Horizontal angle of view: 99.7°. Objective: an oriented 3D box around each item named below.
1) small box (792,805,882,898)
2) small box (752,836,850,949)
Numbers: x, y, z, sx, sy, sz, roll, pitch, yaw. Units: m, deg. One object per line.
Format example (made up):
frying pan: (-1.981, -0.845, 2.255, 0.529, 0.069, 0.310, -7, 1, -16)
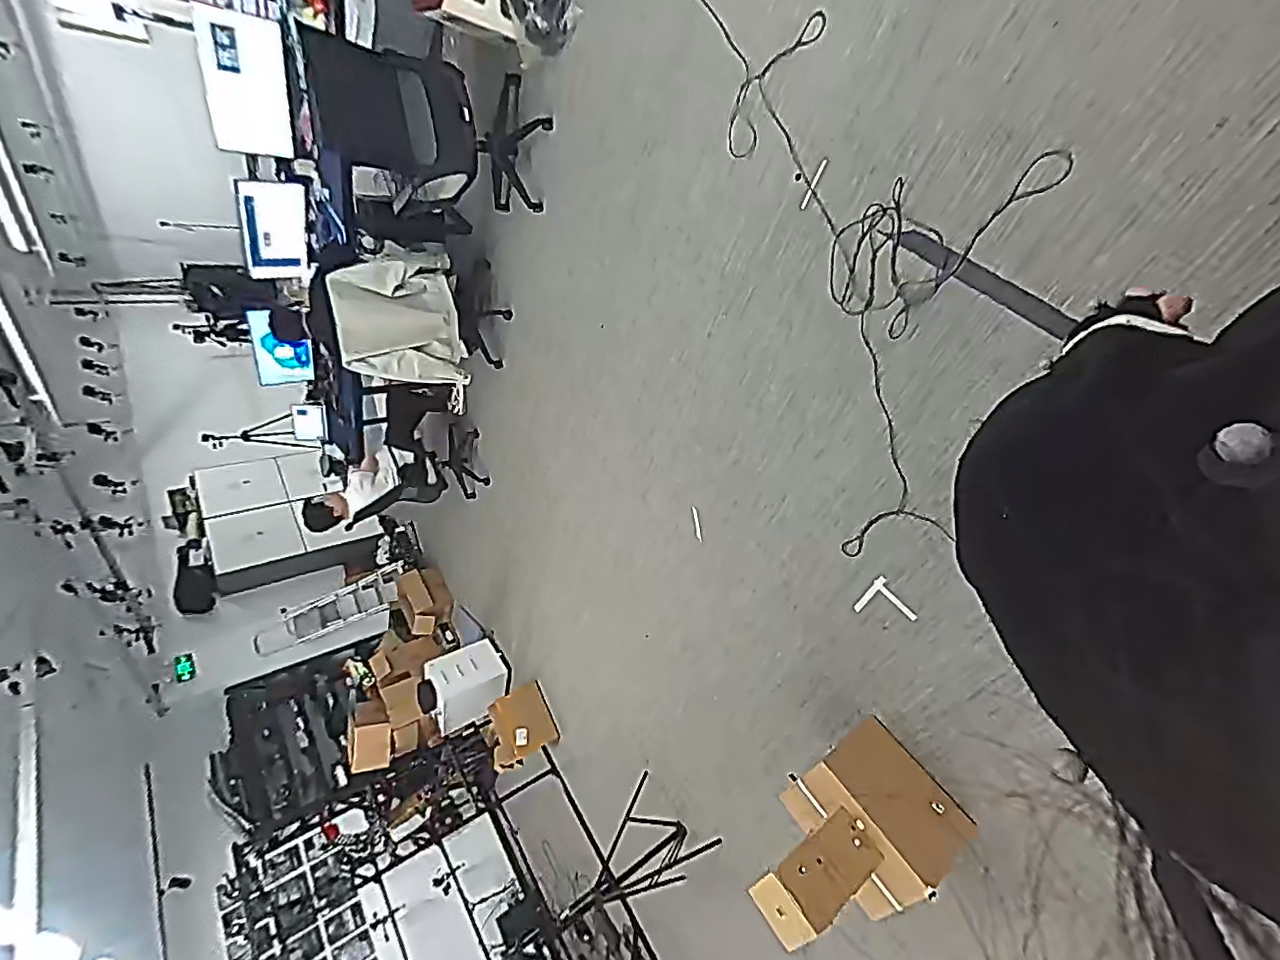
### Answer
small box: (0.575, 1.105, 1.592, 0.168, 0.176, 0.179, 47, 135, 31)
small box: (0.448, 1.132, 1.493, 0.168, 0.176, 0.179, 48, 136, 33)
